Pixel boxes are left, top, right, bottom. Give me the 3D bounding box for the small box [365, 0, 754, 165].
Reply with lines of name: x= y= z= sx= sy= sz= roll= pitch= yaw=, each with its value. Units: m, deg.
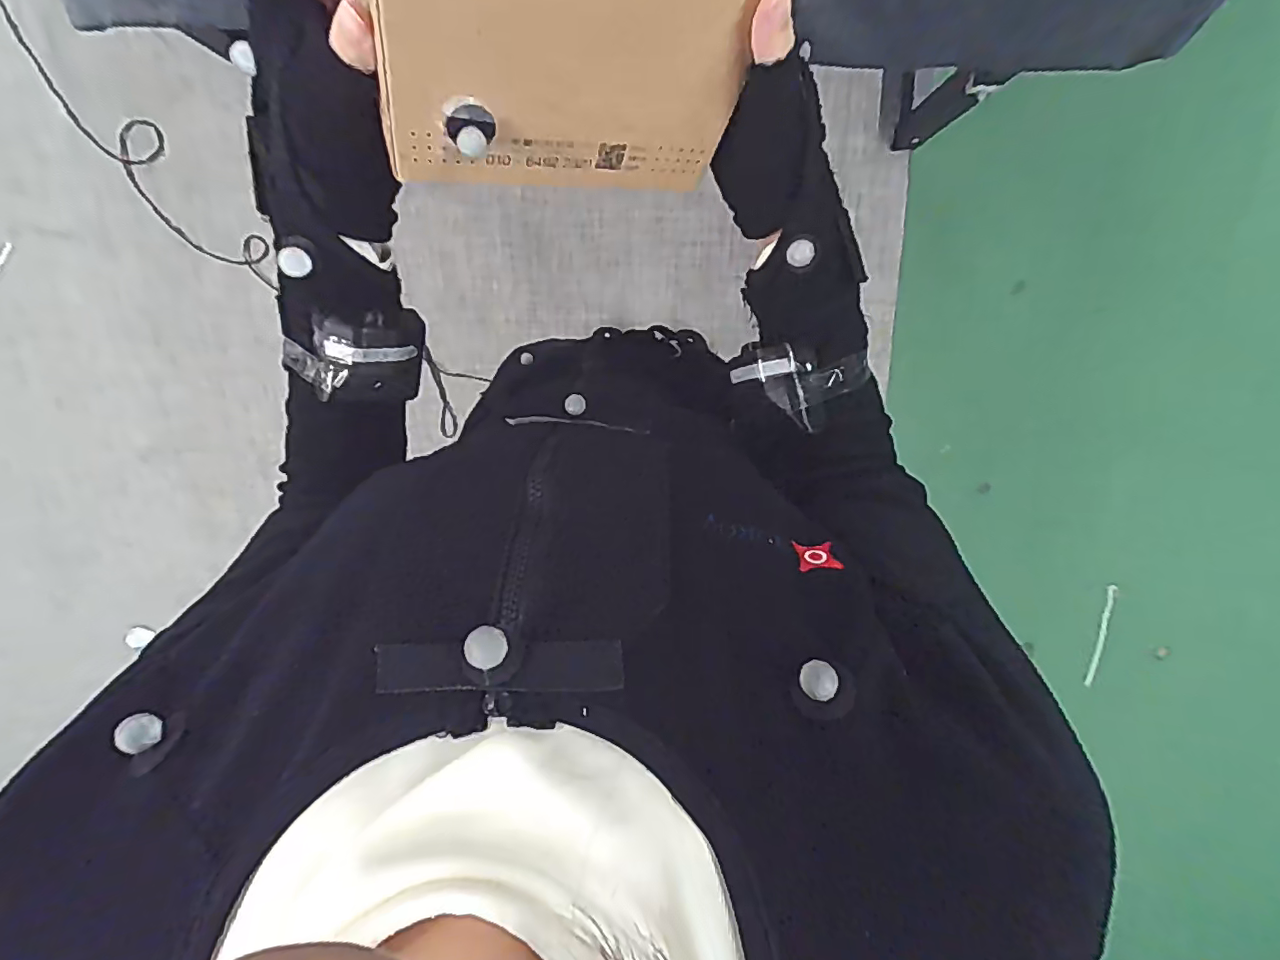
small box: x=-0.043 y=-0.277 z=0.247 sx=0.168 sy=0.176 sz=0.179 roll=-12 pitch=71 yaw=-23
